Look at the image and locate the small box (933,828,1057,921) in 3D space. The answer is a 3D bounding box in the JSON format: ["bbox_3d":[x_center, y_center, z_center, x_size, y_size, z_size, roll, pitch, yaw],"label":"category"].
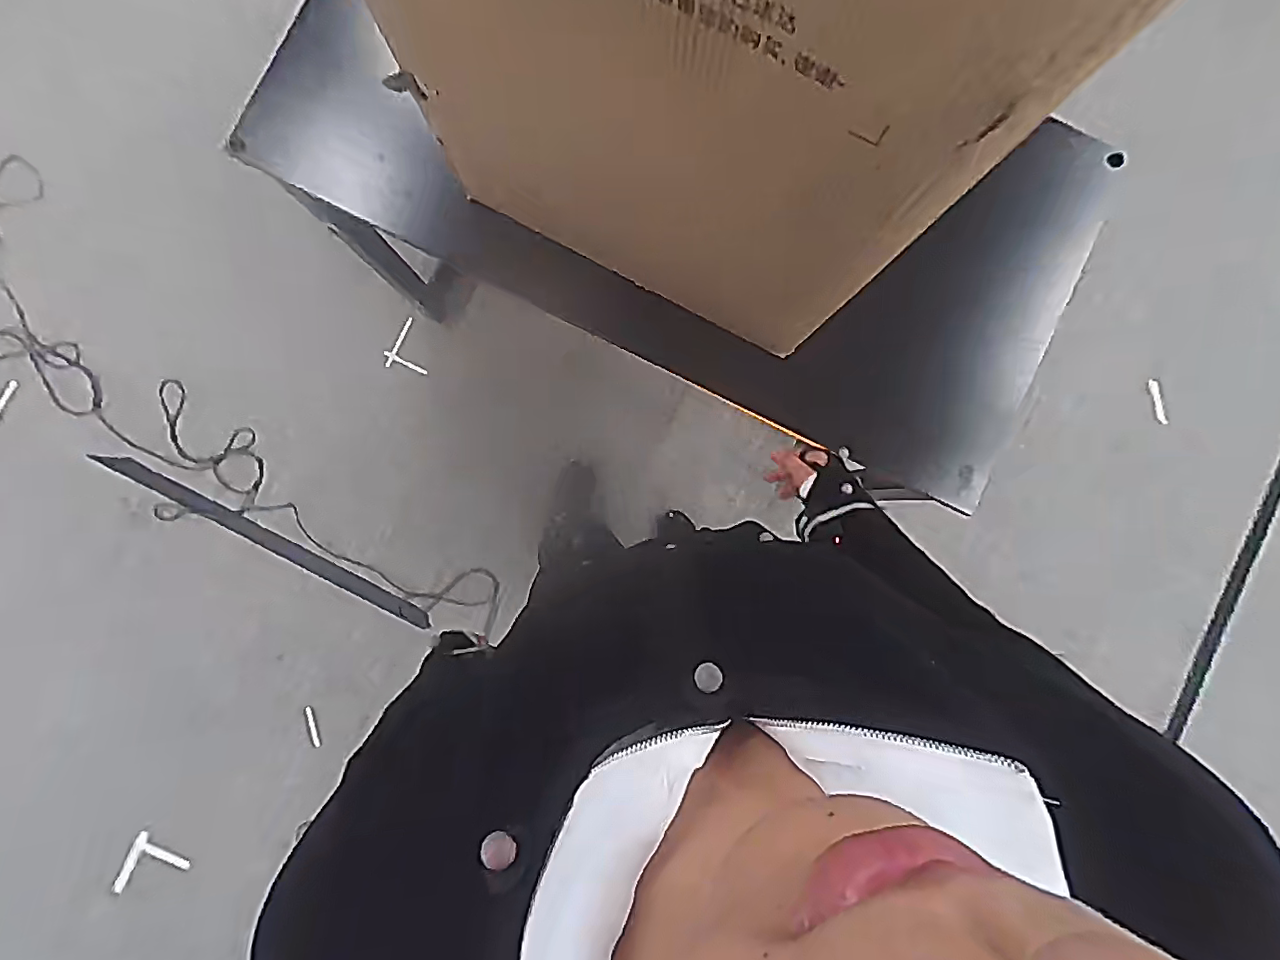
[{"bbox_3d":[0.915,1.055,1.408,0.179,0.176,0.168,26,87,1],"label":"small box"}]

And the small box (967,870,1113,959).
[{"bbox_3d":[0.908,1.052,1.243,0.179,0.176,0.168,27,86,0],"label":"small box"}]
